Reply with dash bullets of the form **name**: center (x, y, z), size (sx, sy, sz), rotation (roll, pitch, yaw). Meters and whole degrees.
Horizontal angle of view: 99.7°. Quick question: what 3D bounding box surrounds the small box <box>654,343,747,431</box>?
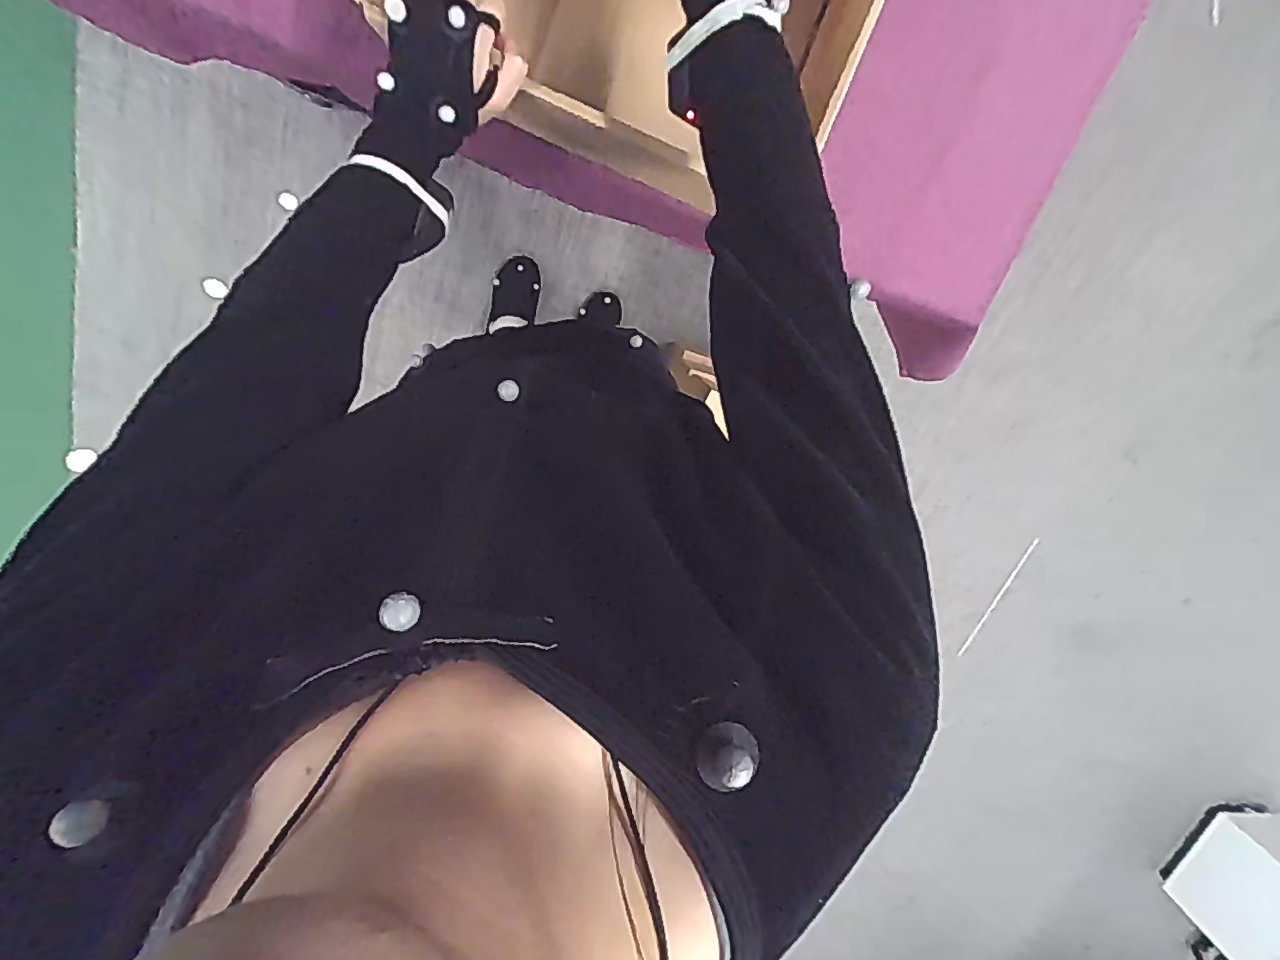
- **small box**: center (0.150, -0.247, 1.404), size (0.179, 0.176, 0.168), rotation (16, 109, -11)
